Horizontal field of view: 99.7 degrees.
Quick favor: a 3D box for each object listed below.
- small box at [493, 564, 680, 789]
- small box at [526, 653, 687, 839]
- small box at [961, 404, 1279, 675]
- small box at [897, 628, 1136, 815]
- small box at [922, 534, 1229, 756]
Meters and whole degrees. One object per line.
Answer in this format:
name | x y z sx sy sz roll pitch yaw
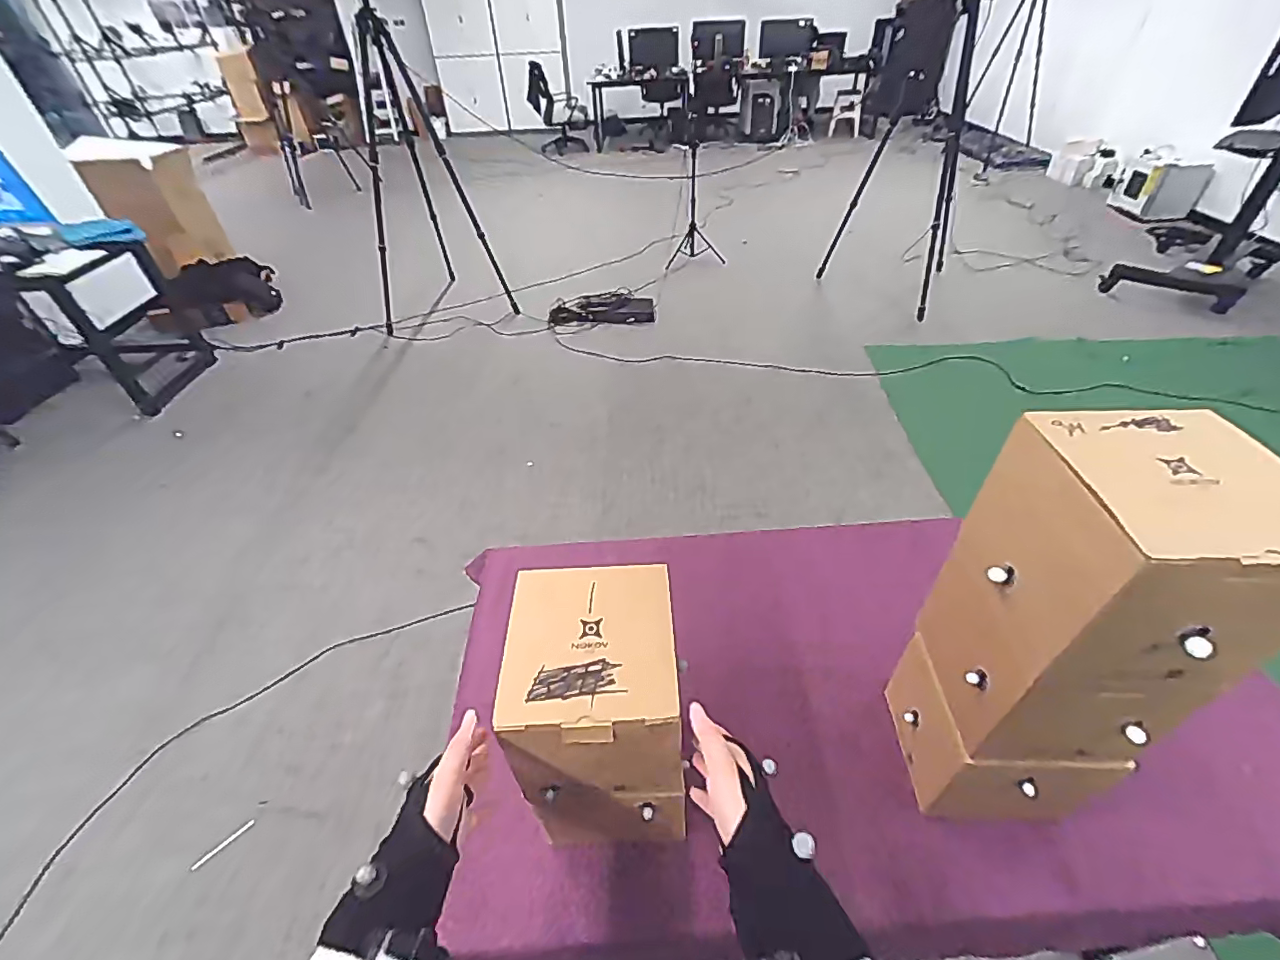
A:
small box | -0.045 0.215 0.584 0.168 0.176 0.179 -3 40 1
small box | -0.033 0.340 0.690 0.179 0.176 0.168 -3 42 1
small box | 0.419 0.053 0.471 0.168 0.176 0.179 -1 43 4
small box | 0.443 0.303 0.681 0.179 0.176 0.168 0 42 5
small box | 0.432 0.176 0.580 0.168 0.176 0.179 0 41 5
